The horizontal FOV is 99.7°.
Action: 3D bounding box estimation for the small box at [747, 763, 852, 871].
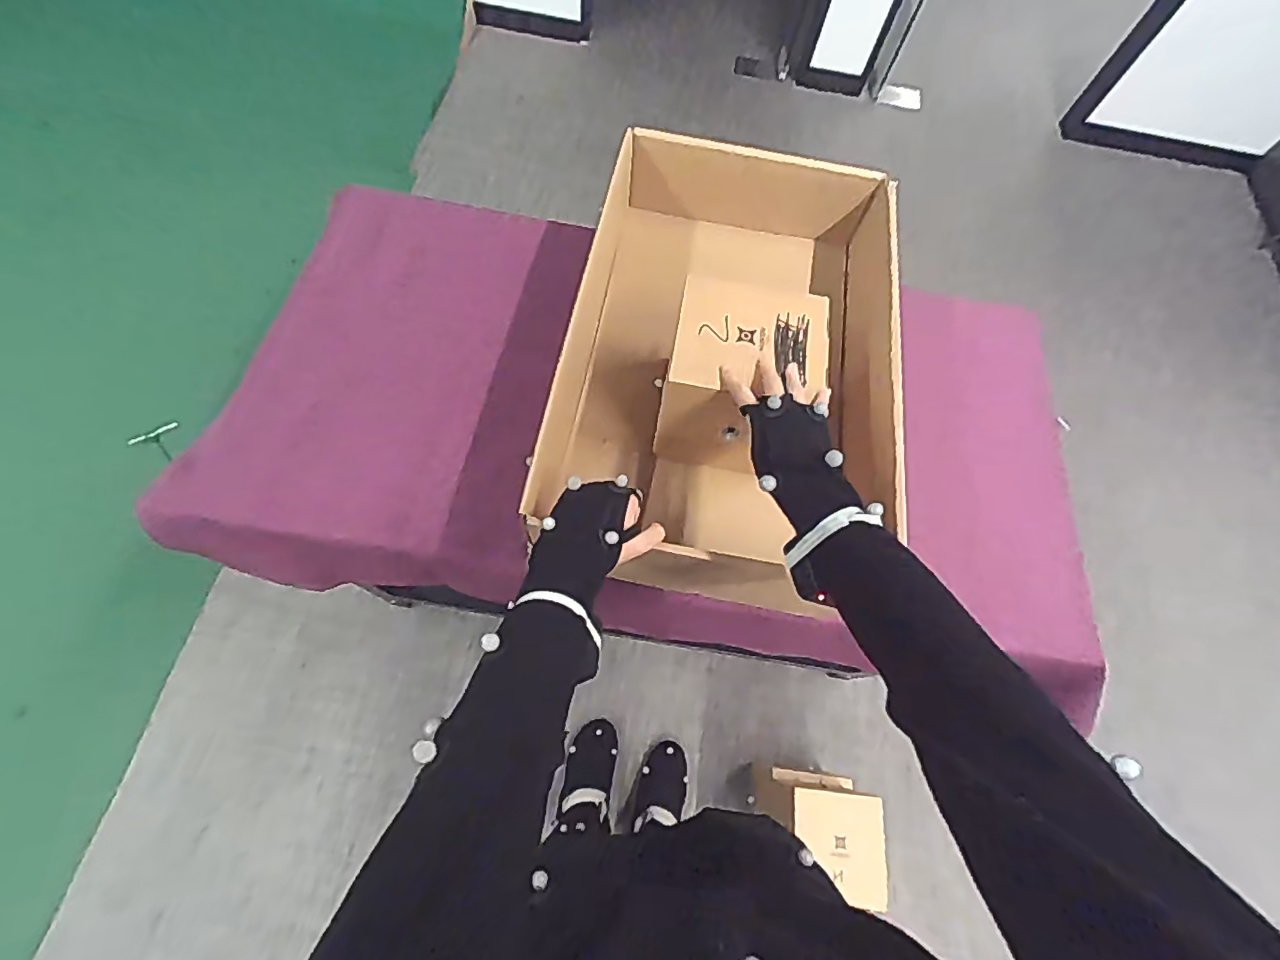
[{"bbox_3d":[0.345,0.730,1.188,0.179,0.176,0.168,9,66,0],"label":"small box"}]
